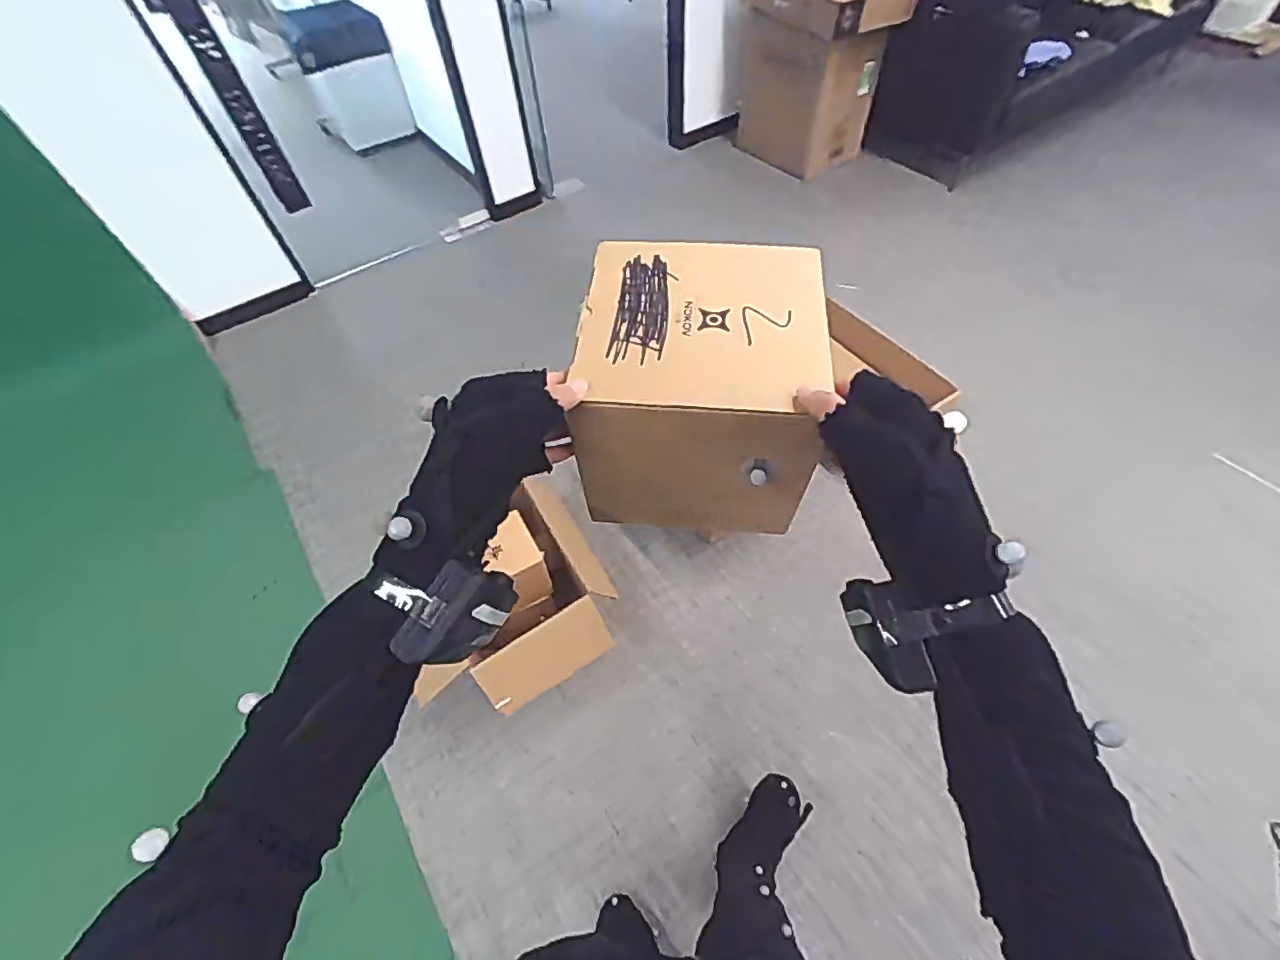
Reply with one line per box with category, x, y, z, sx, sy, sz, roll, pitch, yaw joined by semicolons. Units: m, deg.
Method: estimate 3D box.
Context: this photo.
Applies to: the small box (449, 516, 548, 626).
small box;-0.338;0.224;1.326;0.179;0.176;0.168;-26;56;-17
